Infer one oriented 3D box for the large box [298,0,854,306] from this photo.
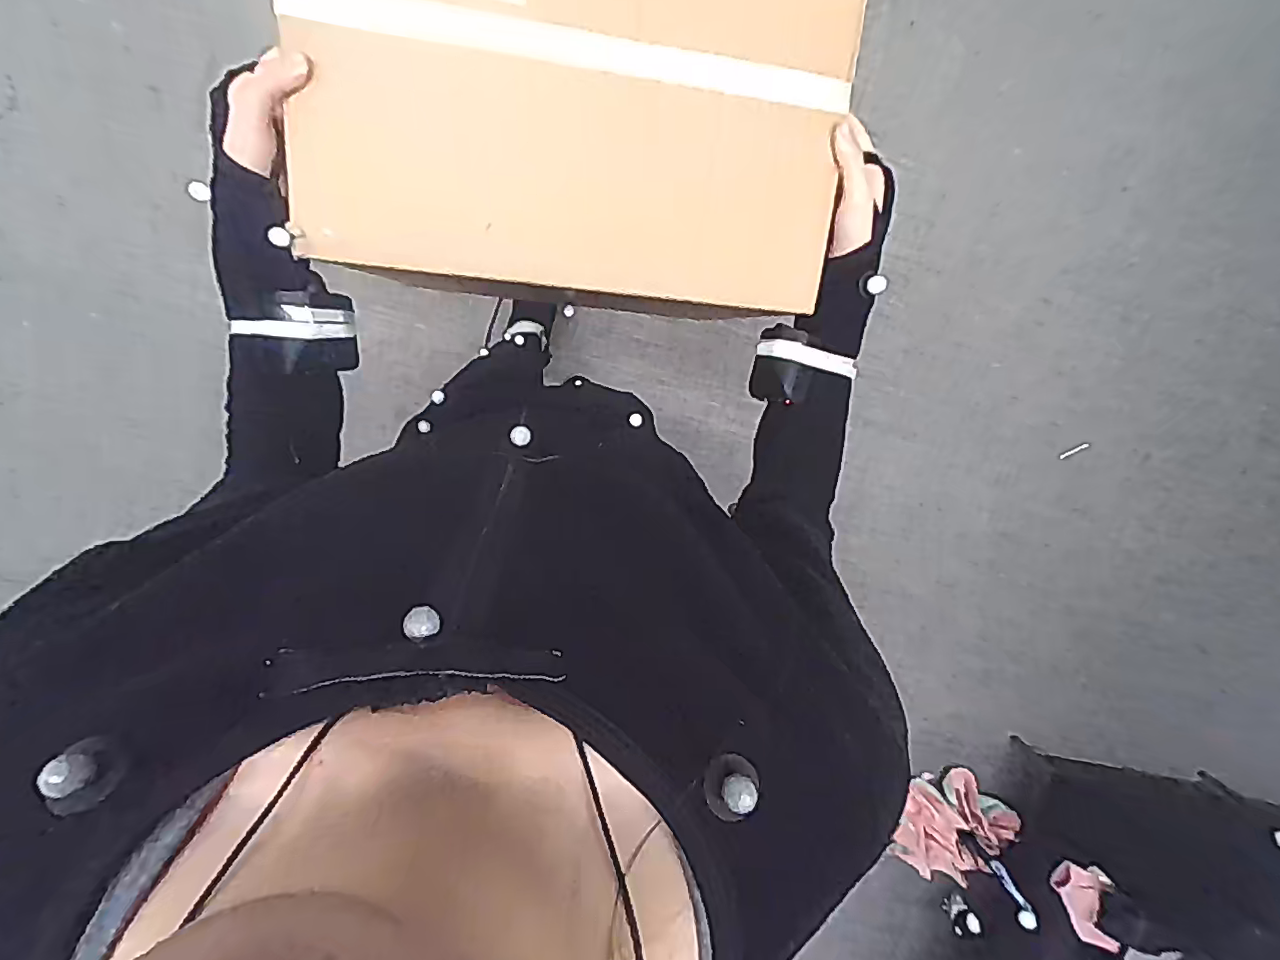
[{"bbox_3d":[-0.057,-0.352,0.541,0.408,0.320,0.320,3,106,-9],"label":"large box"}]
